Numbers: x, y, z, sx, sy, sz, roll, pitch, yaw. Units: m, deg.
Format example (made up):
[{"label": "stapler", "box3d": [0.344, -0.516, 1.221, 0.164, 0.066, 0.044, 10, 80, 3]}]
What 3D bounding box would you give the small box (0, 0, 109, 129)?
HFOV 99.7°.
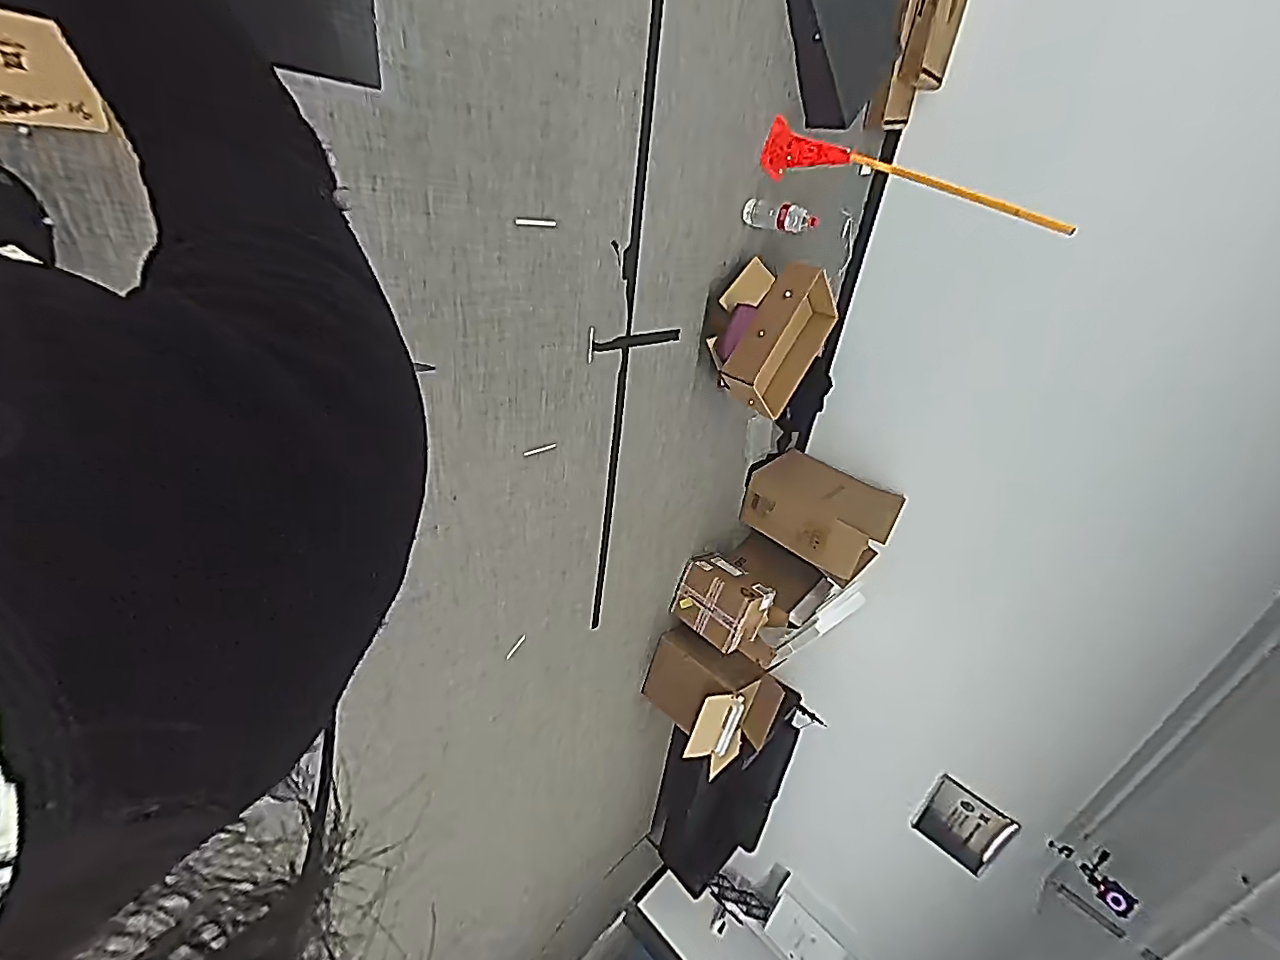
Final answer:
[{"label": "small box", "box3d": [-0.950, -0.643, 0.812, 0.168, 0.176, 0.179, -22, 131, -41]}]
